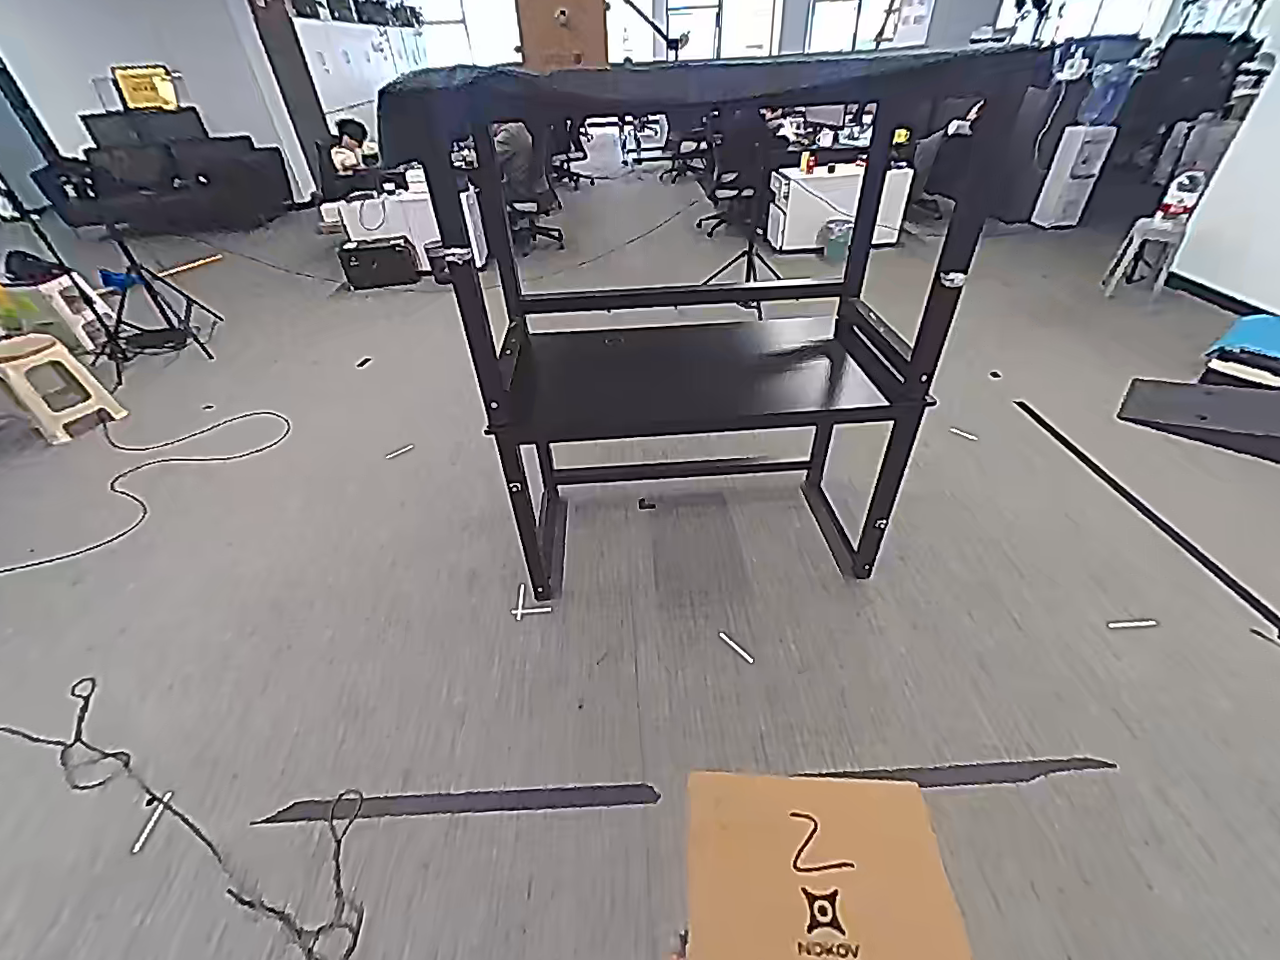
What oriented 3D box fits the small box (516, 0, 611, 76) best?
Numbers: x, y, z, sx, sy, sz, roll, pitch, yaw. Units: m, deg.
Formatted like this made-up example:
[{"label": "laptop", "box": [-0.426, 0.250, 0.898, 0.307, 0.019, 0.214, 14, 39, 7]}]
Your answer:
[{"label": "small box", "box": [-0.146, -0.884, 1.034, 0.168, 0.176, 0.179, -6, 38, -5]}]
